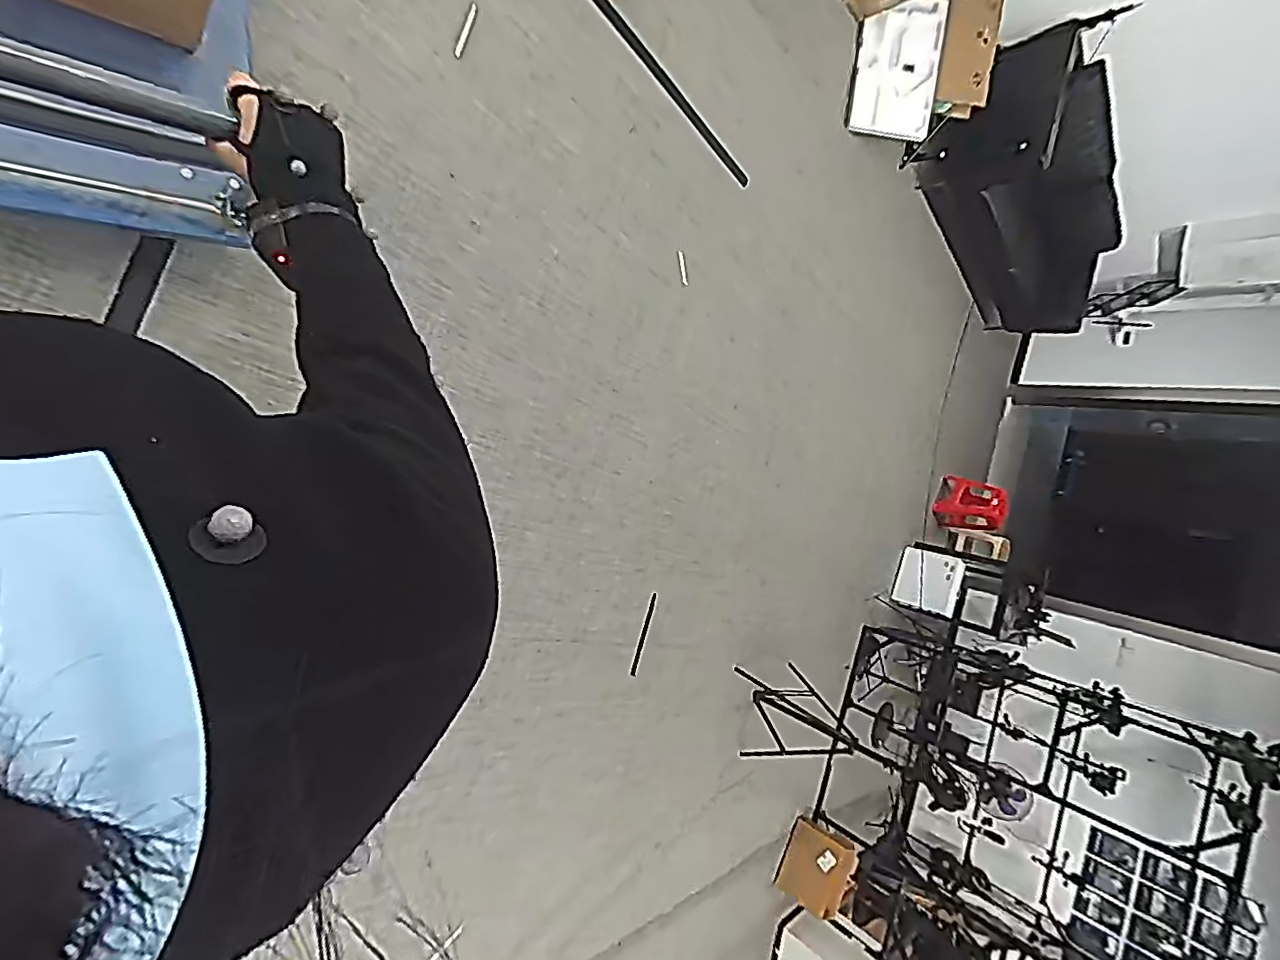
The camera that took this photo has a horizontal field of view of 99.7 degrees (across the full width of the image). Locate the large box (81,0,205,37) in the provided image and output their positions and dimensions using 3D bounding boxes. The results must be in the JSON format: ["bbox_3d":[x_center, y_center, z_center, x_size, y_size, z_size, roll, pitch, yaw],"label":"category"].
[{"bbox_3d":[-0.826,-0.880,0.691,0.408,0.320,0.320,-6,103,-43],"label":"large box"}]
